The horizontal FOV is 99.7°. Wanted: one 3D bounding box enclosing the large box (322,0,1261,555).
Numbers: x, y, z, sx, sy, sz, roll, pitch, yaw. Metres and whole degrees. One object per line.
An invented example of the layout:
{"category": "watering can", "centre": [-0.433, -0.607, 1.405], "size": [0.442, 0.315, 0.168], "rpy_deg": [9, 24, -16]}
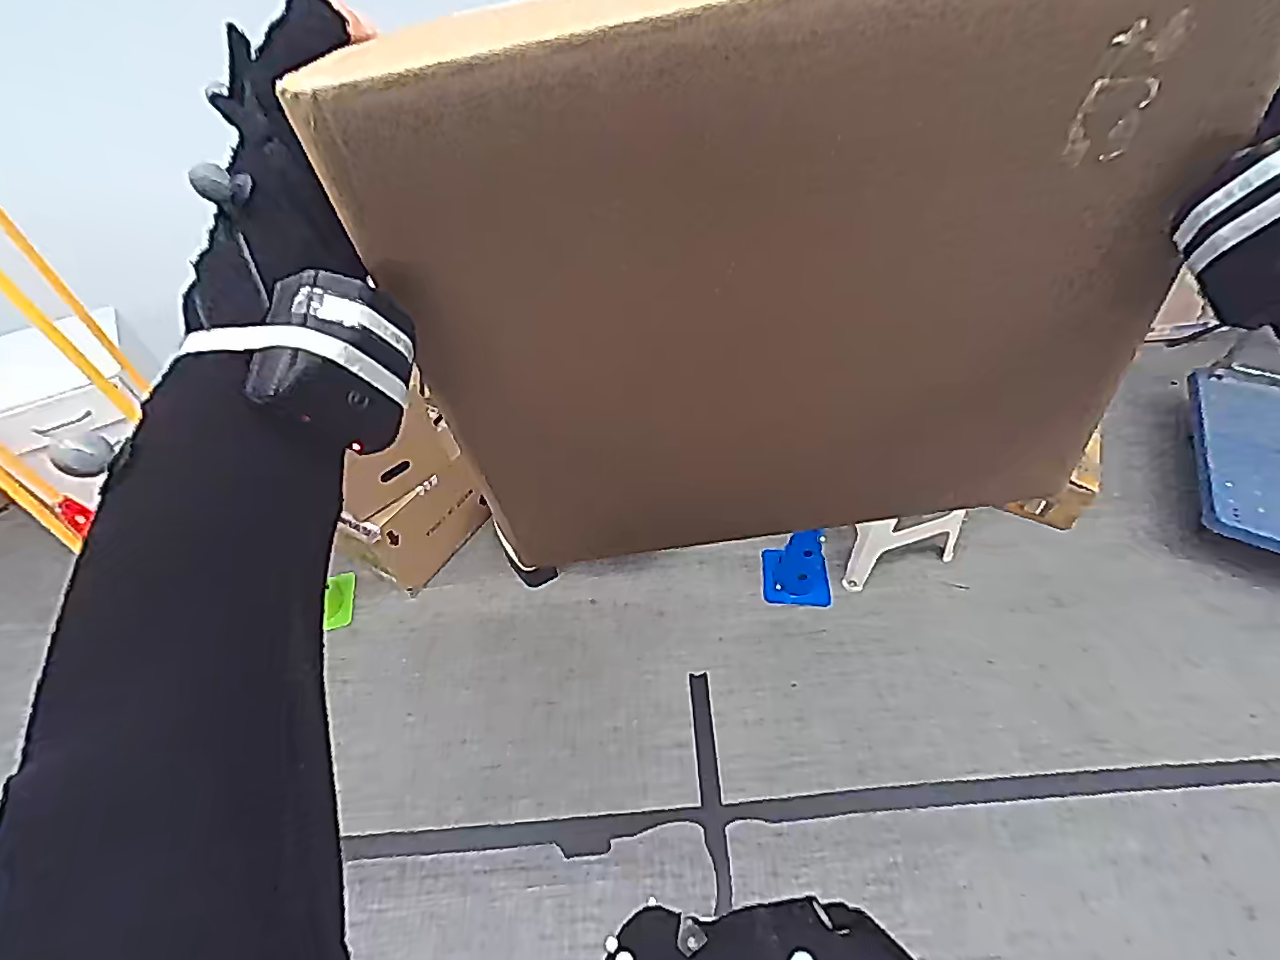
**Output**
{"category": "large box", "centre": [0.071, -0.176, 0.423], "size": [0.408, 0.320, 0.320], "rpy_deg": [-9, 43, 3]}
